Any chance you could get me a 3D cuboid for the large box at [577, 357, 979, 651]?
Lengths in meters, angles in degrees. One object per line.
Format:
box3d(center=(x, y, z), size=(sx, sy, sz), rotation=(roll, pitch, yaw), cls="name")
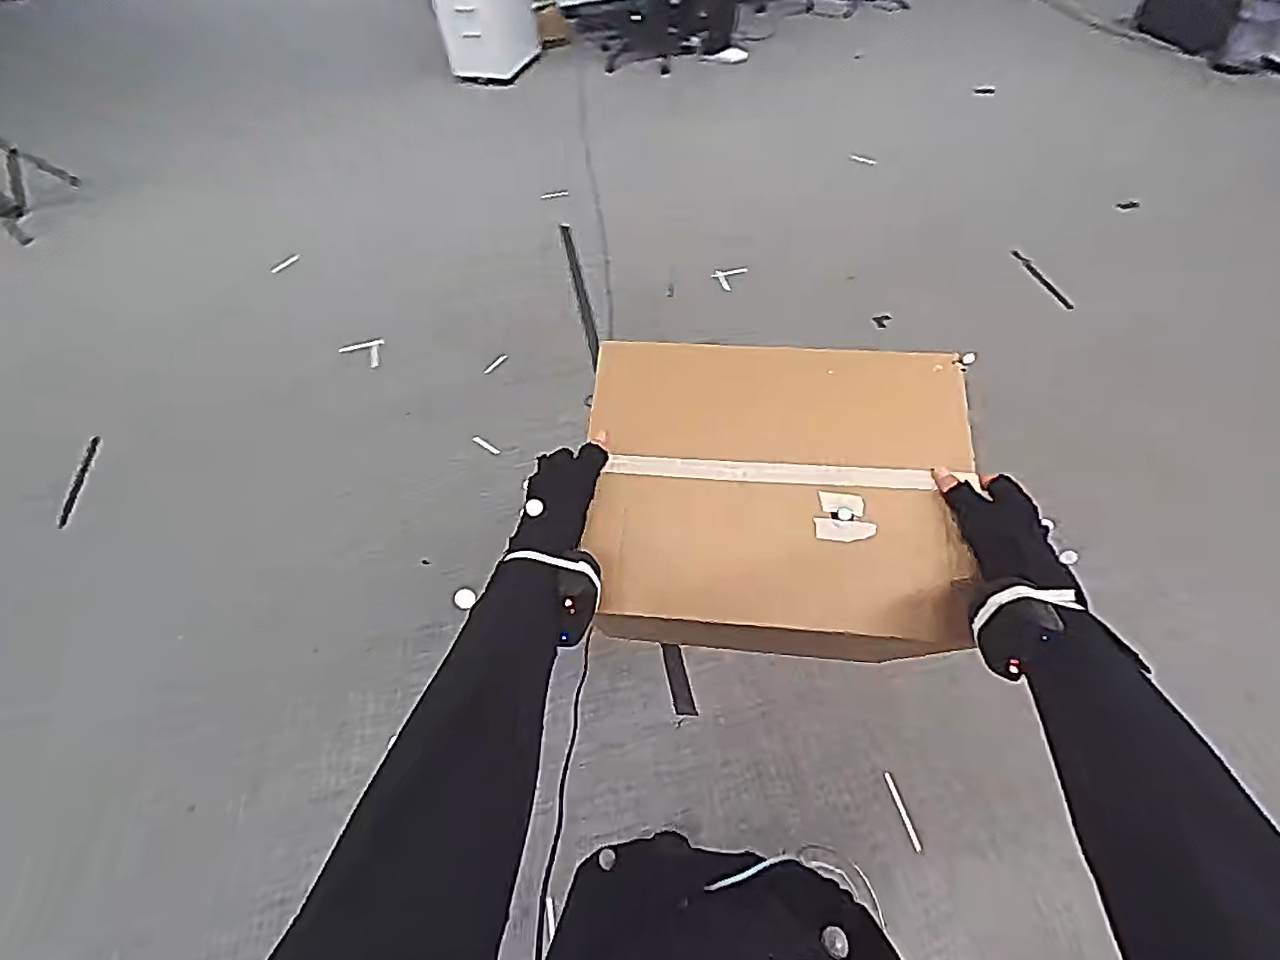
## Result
box3d(center=(0.146, 0.053, 0.725), size=(0.408, 0.320, 0.320), rotation=(2, 70, 4), cls="large box")
